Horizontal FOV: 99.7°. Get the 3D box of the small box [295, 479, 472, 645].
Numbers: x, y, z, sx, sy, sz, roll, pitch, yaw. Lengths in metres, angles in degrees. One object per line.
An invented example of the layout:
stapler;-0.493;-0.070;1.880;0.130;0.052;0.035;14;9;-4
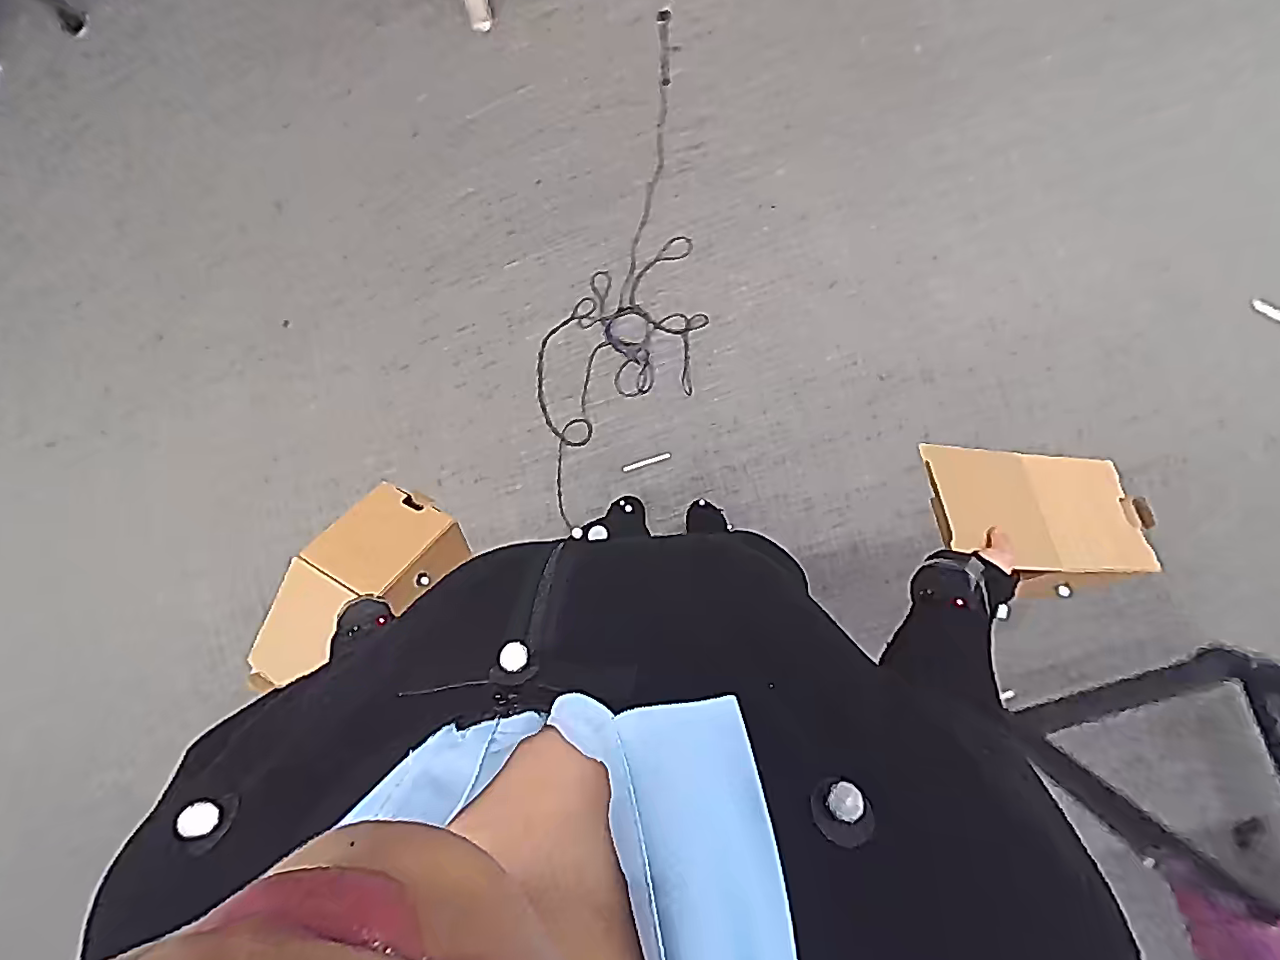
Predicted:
small box;-0.402;0.137;0.883;0.168;0.176;0.179;25;53;20
